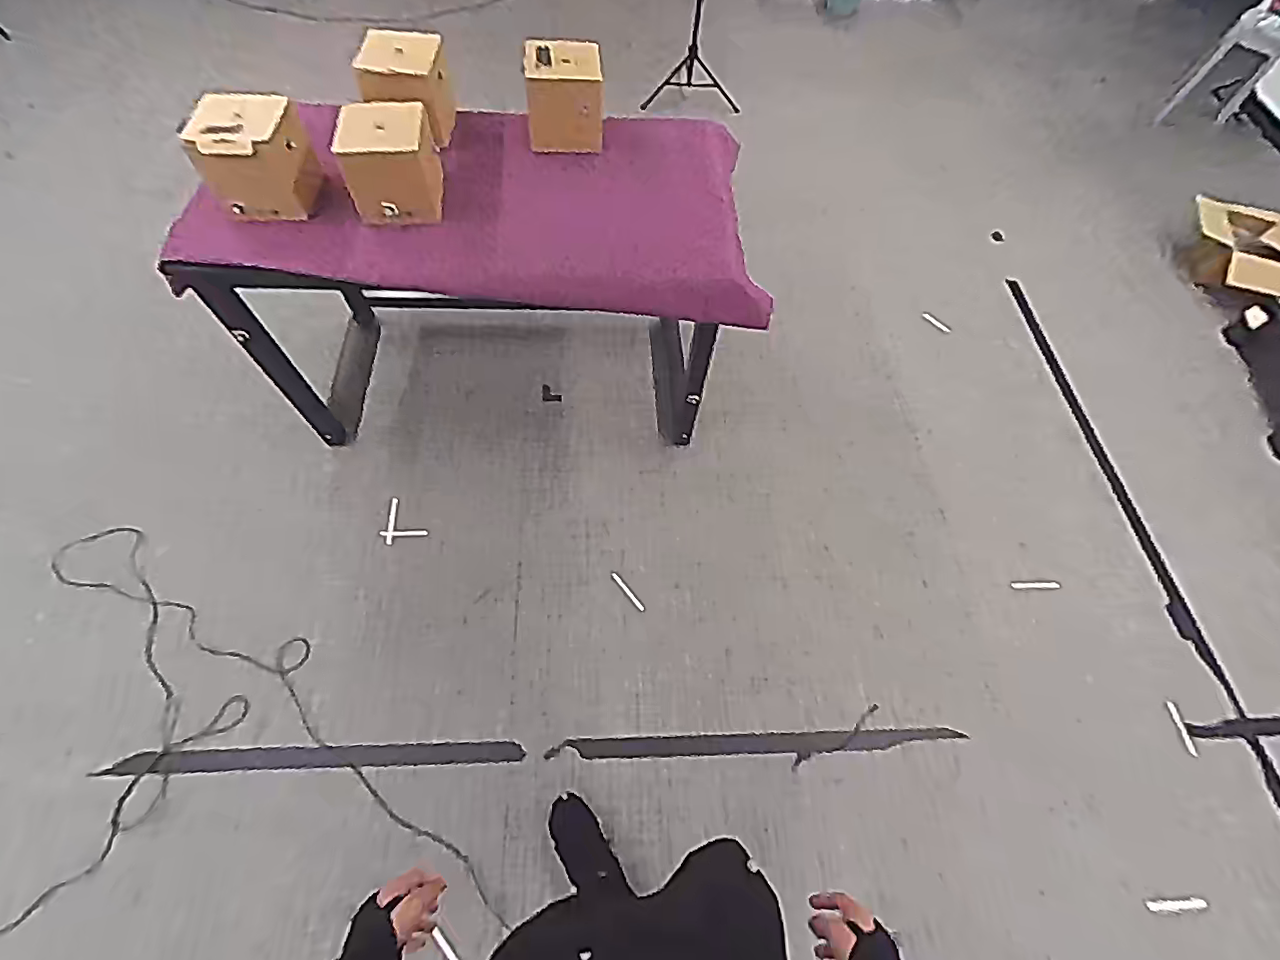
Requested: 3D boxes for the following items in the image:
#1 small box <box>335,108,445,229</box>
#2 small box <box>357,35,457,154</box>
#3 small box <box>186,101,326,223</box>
[{"bbox_3d":[-0.531,-0.675,1.176,0.168,0.176,0.179,-5,62,-5],"label":"small box"},{"bbox_3d":[-0.550,-0.927,1.304,0.168,0.176,0.179,2,62,-3],"label":"small box"},{"bbox_3d":[-0.804,-0.674,1.155,0.168,0.176,0.179,-2,61,-5],"label":"small box"}]
